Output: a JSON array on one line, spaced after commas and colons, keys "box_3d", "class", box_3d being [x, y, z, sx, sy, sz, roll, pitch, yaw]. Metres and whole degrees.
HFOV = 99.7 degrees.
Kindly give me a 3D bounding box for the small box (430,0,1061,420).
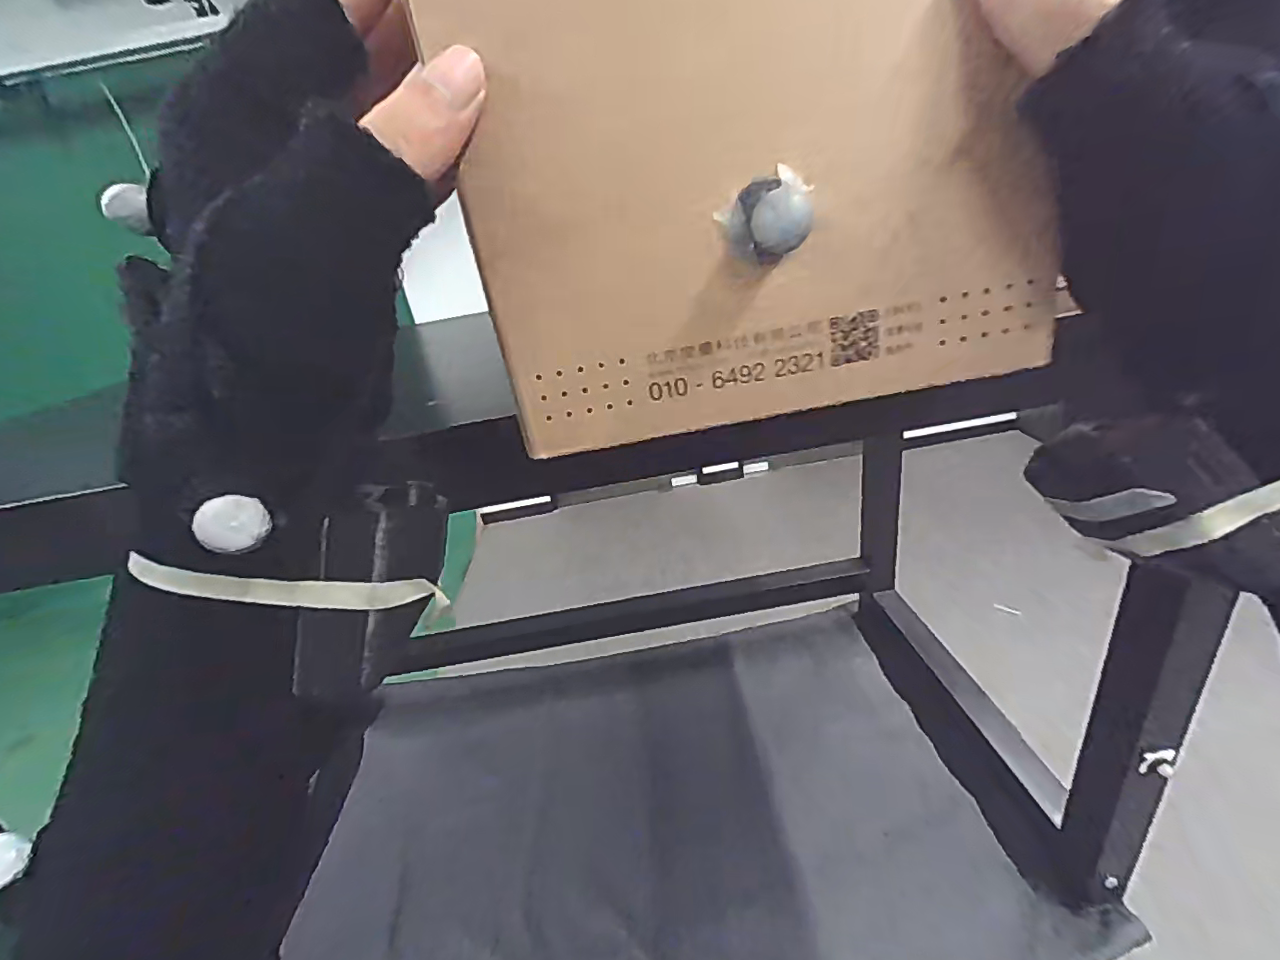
[{"box_3d": [0.027, -0.133, 0.219, 0.168, 0.176, 0.179, -10, 22, 2], "class": "small box"}]
